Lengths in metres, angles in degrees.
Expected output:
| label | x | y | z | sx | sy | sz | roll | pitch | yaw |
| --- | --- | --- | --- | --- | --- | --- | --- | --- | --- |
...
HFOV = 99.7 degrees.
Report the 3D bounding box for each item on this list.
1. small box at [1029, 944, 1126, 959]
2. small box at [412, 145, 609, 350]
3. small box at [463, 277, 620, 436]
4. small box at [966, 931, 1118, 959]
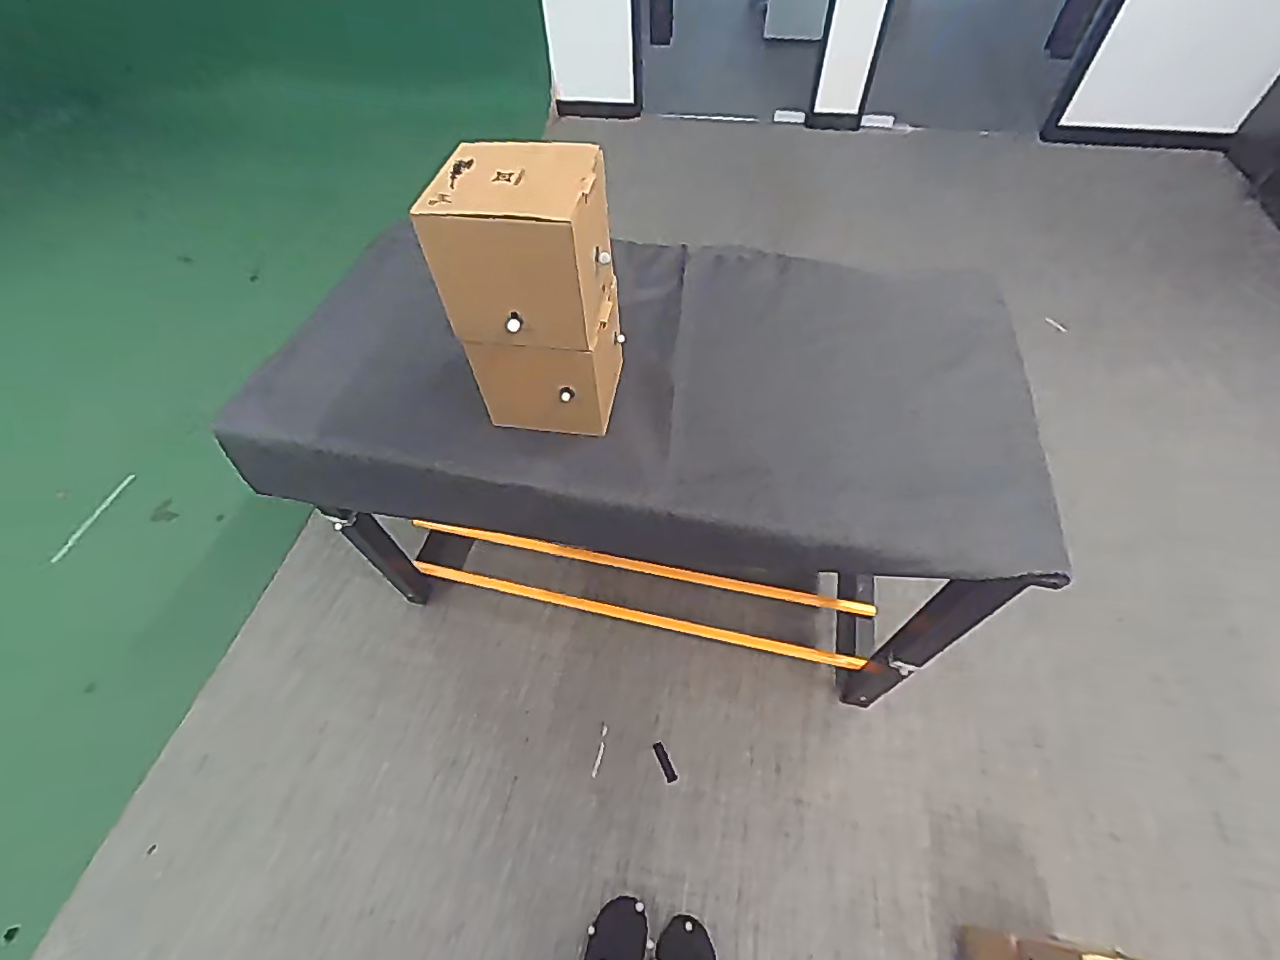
| label | x | y | z | sx | sy | sz | roll | pitch | yaw |
| --- | --- | --- | --- | --- | --- | --- | --- | --- | --- |
| small box | 0.694 | 0.784 | 0.766 | 0.179 | 0.176 | 0.168 | 6 | 56 | 5 |
| small box | -0.138 | -0.279 | 0.661 | 0.179 | 0.176 | 0.168 | 6 | 54 | 6 |
| small box | -0.128 | -0.182 | 0.794 | 0.179 | 0.176 | 0.168 | 5 | 54 | 7 |
| small box | 0.687 | 0.876 | 0.902 | 0.179 | 0.176 | 0.168 | 4 | 55 | 6 |
